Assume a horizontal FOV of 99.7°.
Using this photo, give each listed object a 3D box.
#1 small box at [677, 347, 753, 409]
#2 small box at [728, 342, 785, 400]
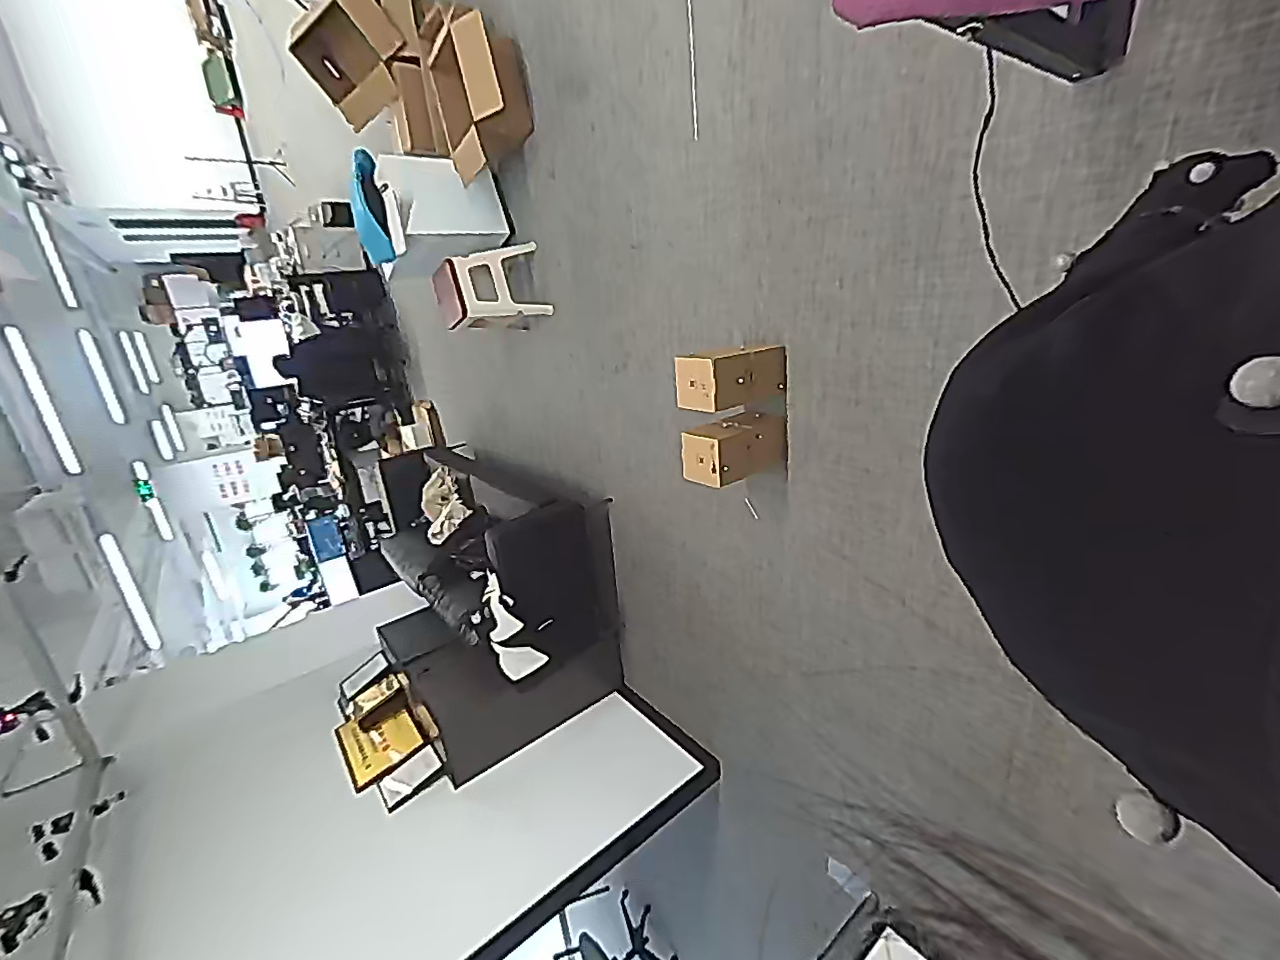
[{"bbox_3d":[0.242,-0.334,1.744,0.179,0.176,0.168,19,121,50],"label":"small box"},{"bbox_3d":[0.375,-0.374,1.832,0.179,0.176,0.168,18,120,50],"label":"small box"}]
